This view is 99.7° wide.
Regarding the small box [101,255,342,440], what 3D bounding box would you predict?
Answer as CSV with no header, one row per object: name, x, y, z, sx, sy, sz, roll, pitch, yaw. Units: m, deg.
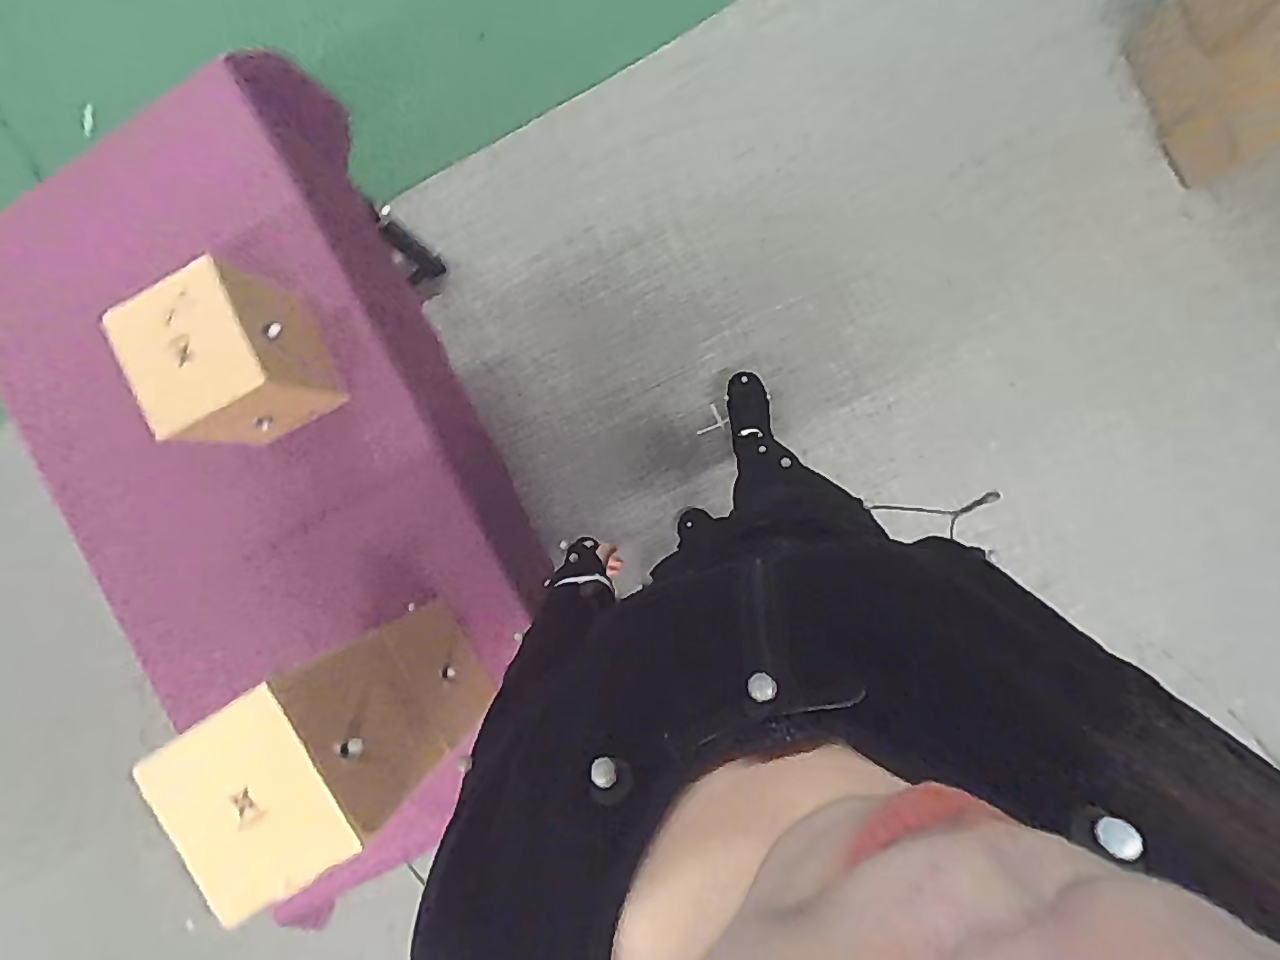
small box,-0.552,-0.166,0.740,0.168,0.176,0.179,-25,89,6

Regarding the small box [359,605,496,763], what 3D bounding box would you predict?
small box,-0.328,0.288,0.732,0.168,0.176,0.179,-32,90,6

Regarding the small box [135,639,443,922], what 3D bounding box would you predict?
small box,-0.348,0.290,0.571,0.168,0.176,0.179,-33,89,6
